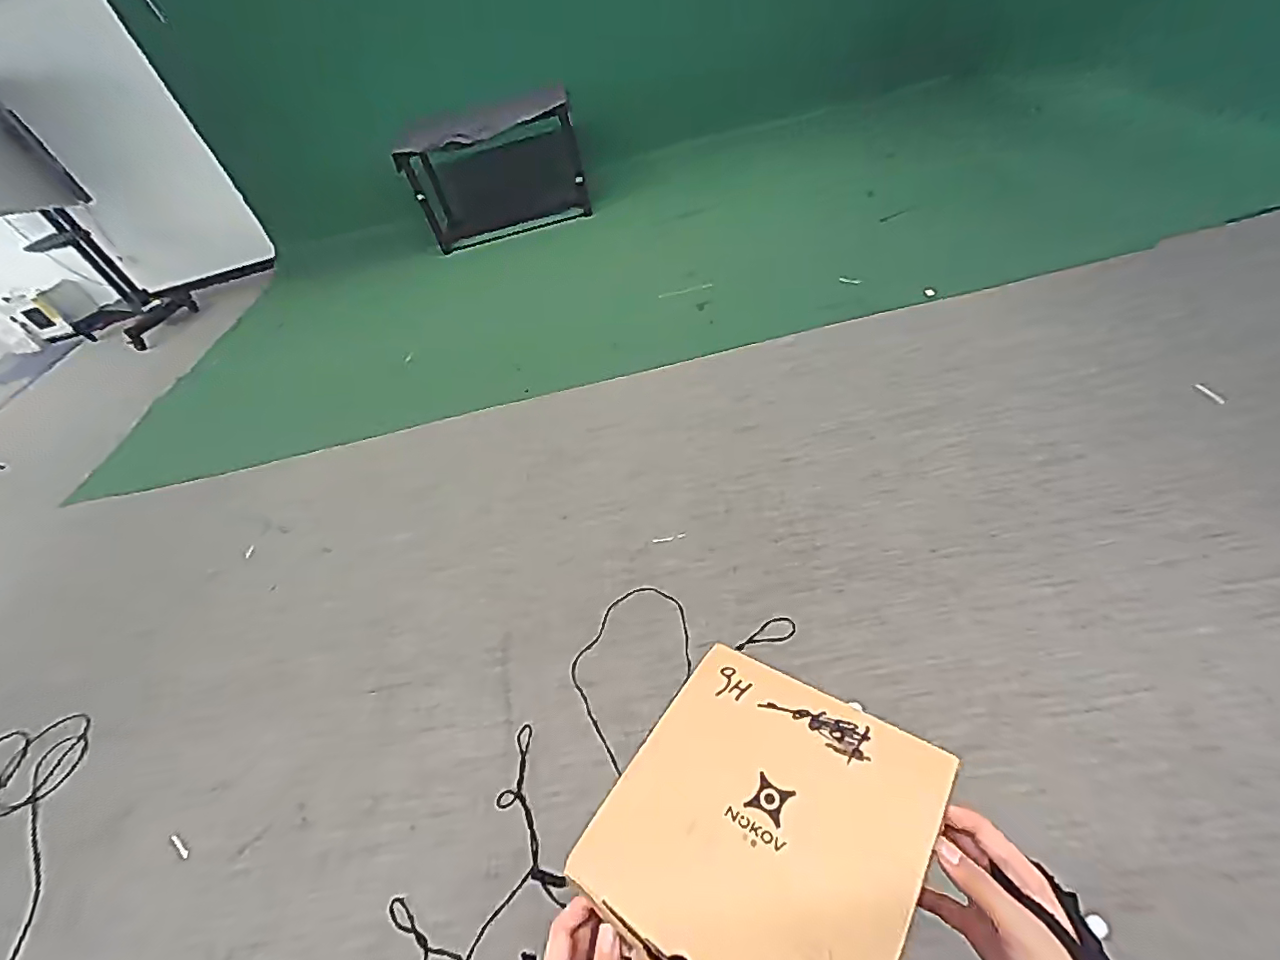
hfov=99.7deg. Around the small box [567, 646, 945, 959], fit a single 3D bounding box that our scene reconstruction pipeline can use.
[{"bbox_3d":[0.085,0.257,0.366,0.168,0.176,0.179,17,47,36],"label":"small box"}]
